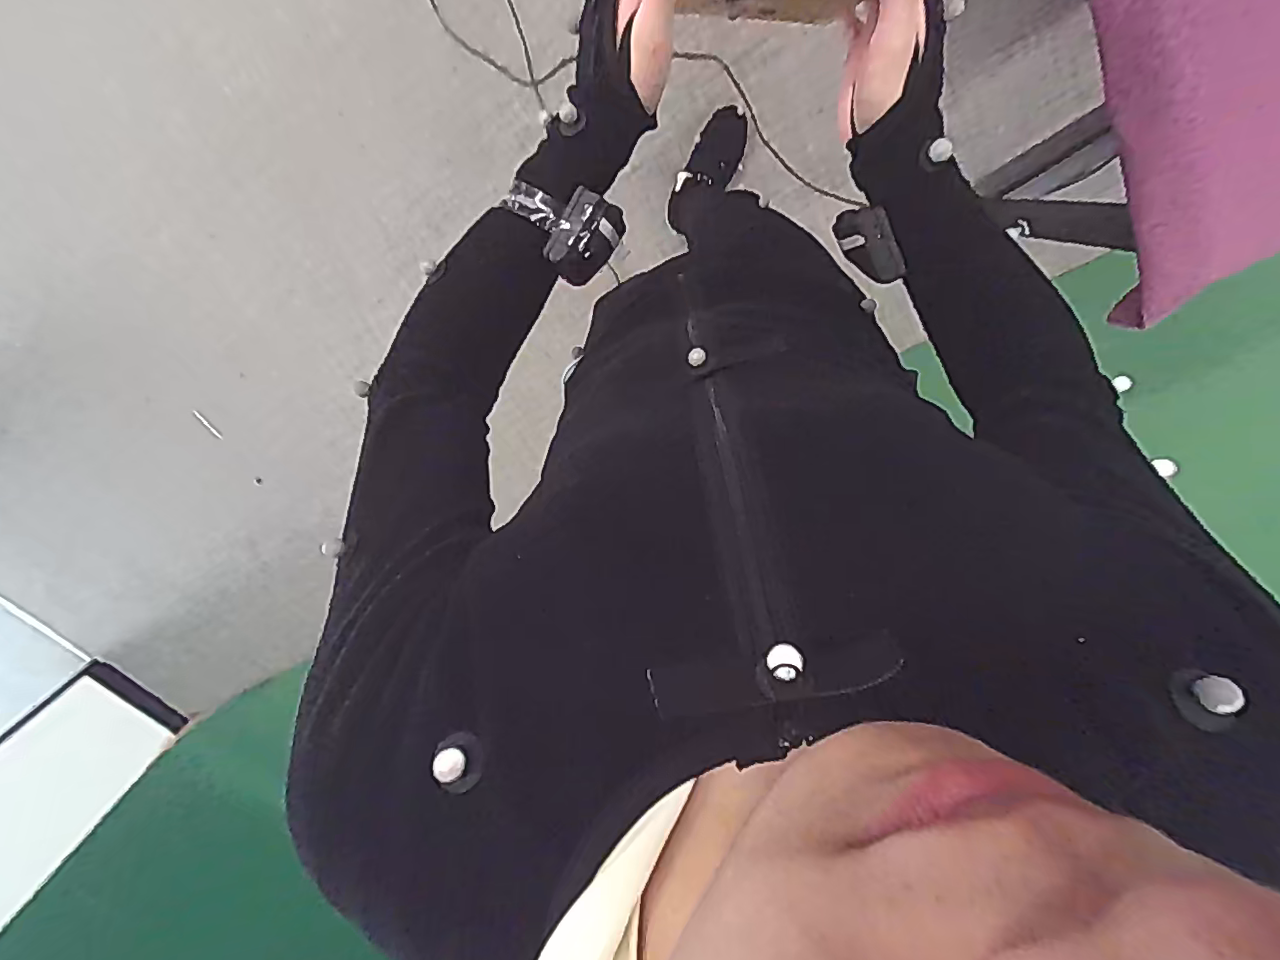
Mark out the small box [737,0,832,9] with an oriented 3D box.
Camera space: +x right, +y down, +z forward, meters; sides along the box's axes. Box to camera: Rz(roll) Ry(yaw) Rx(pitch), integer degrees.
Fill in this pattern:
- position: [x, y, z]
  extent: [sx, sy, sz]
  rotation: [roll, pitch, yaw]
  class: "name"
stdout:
- position: [0.092, -0.438, 0.344]
  extent: [0.168, 0.176, 0.179]
  rotation: [1, 122, -5]
  class: "small box"
